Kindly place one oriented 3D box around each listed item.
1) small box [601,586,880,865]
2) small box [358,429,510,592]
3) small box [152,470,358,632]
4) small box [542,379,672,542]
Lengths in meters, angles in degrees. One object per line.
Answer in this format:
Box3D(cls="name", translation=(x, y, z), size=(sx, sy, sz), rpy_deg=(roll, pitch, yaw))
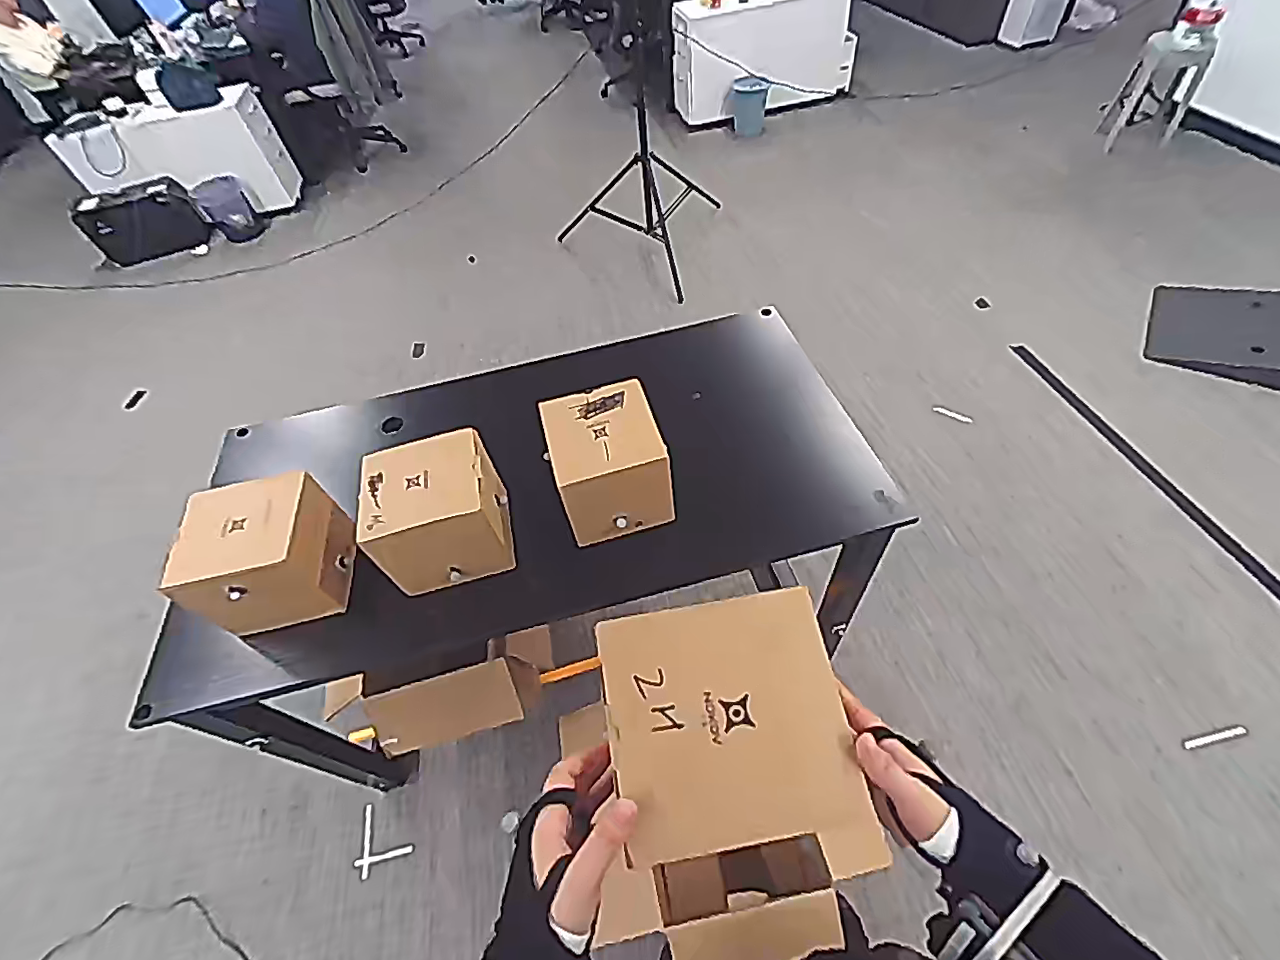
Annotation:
Box3D(cls="small box", translation=(0.068, 0.201, 0.465), size=(0.179, 0.176, 0.168), rpy_deg=(-9, 65, -2))
Box3D(cls="small box", translation=(-0.309, 0.050, 0.842), size=(0.179, 0.176, 0.168), rpy_deg=(-15, 52, -6))
Box3D(cls="small box", translation=(-0.565, 0.113, 0.824), size=(0.179, 0.176, 0.168), rpy_deg=(-12, 53, -4))
Box3D(cls="small box", translation=(-0.051, -0.029, 0.870), size=(0.168, 0.176, 0.179), rpy_deg=(-16, 53, -5))
